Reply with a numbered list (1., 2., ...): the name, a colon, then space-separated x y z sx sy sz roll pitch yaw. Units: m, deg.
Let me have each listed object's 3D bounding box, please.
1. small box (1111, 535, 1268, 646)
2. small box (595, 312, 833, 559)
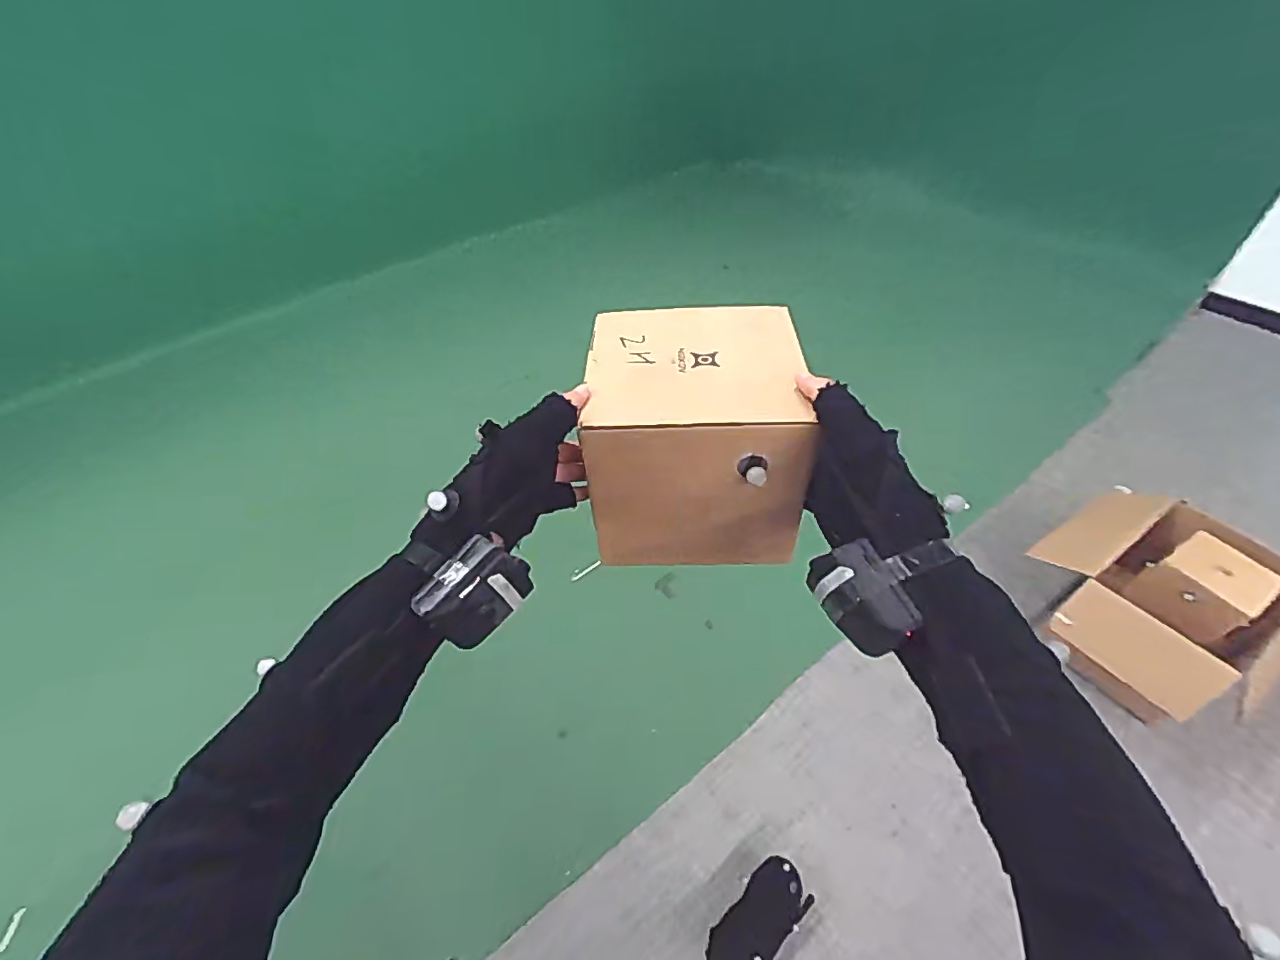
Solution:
1. small box: 1.309 0.273 1.301 0.168 0.176 0.179 -27 52 -20
2. small box: 0.060 -0.039 0.505 0.179 0.176 0.168 -1 45 4
